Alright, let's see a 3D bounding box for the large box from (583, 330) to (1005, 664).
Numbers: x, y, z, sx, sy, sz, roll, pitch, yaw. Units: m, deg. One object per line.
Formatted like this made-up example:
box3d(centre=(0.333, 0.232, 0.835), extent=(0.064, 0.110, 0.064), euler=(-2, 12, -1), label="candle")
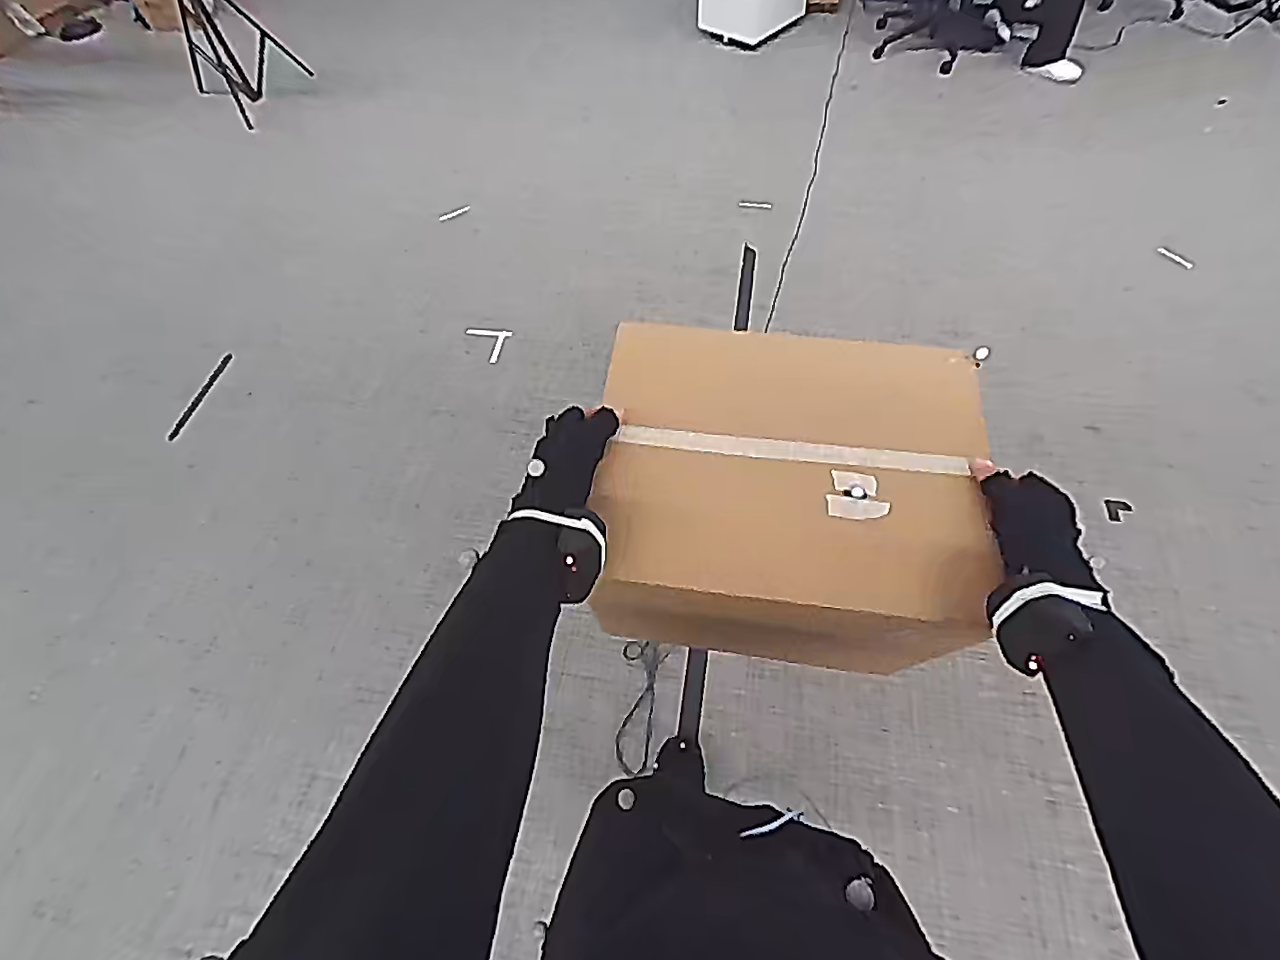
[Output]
box3d(centre=(0.164, 0.037, 0.708), extent=(0.408, 0.320, 0.320), euler=(7, 65, 6), label="large box")
